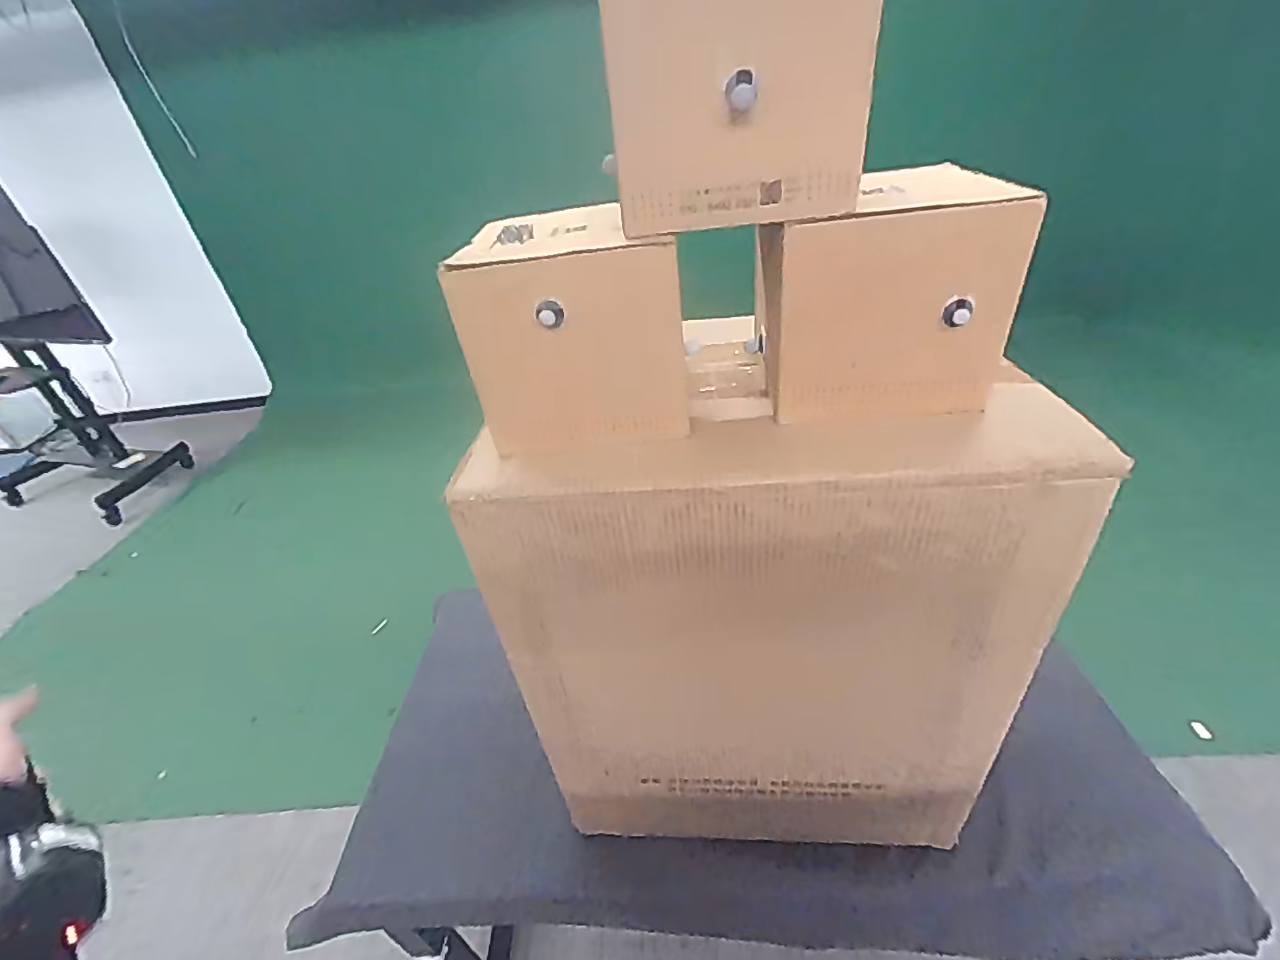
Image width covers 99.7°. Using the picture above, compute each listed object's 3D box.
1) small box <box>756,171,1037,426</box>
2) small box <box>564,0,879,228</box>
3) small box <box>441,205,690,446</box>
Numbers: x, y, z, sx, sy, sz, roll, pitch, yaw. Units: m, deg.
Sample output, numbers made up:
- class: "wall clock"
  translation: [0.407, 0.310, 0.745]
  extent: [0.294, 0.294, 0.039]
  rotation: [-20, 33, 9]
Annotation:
- class: "small box"
  translation: [0.201, -0.163, 0.488]
  extent: [0.179, 0.176, 0.168]
  rotation: [-4, 35, 7]
- class: "small box"
  translation: [0.065, -0.305, 0.416]
  extent: [0.179, 0.176, 0.168]
  rotation: [-23, 38, -19]
- class: "small box"
  translation: [-0.049, -0.144, 0.506]
  extent: [0.179, 0.176, 0.168]
  rotation: [-3, 38, 8]
